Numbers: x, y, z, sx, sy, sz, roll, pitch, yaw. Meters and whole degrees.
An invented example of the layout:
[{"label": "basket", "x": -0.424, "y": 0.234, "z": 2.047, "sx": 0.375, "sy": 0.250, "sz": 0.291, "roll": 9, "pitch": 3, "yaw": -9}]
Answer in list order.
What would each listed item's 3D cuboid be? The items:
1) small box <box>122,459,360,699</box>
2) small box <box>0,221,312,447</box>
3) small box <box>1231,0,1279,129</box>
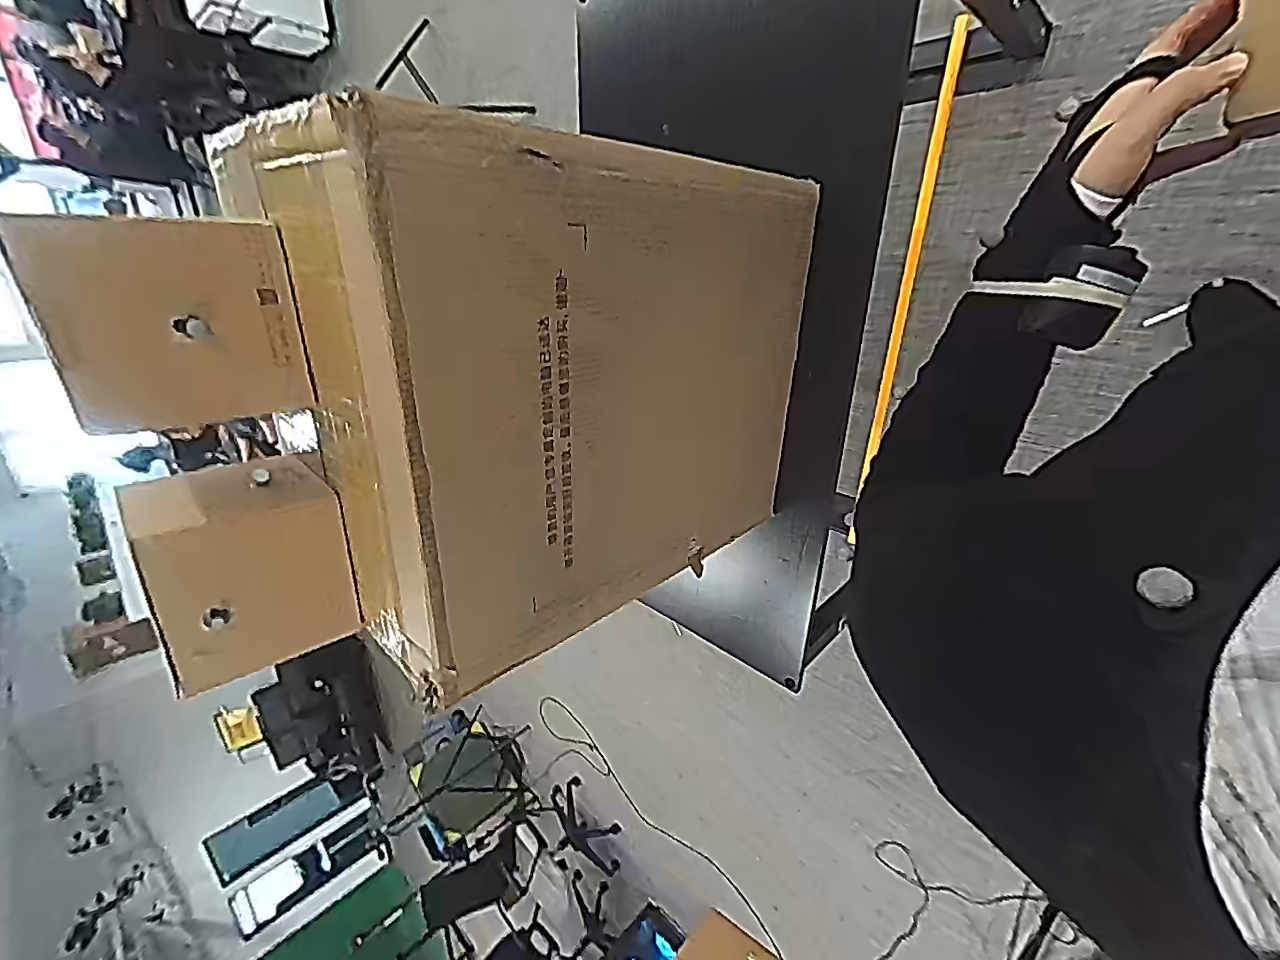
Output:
[{"label": "small box", "x": -0.429, "y": 0.093, "z": 0.596, "sx": 0.168, "sy": 0.176, "sz": 0.179, "roll": 22, "pitch": 119, "yaw": 41}, {"label": "small box", "x": -0.428, "y": -0.147, "z": 0.500, "sx": 0.179, "sy": 0.176, "sz": 0.168, "roll": 24, "pitch": 123, "yaw": 40}, {"label": "small box", "x": 0.422, "y": -0.295, "z": 0.258, "sx": 0.168, "sy": 0.176, "sz": 0.179, "roll": 11, "pitch": 117, "yaw": 49}]
